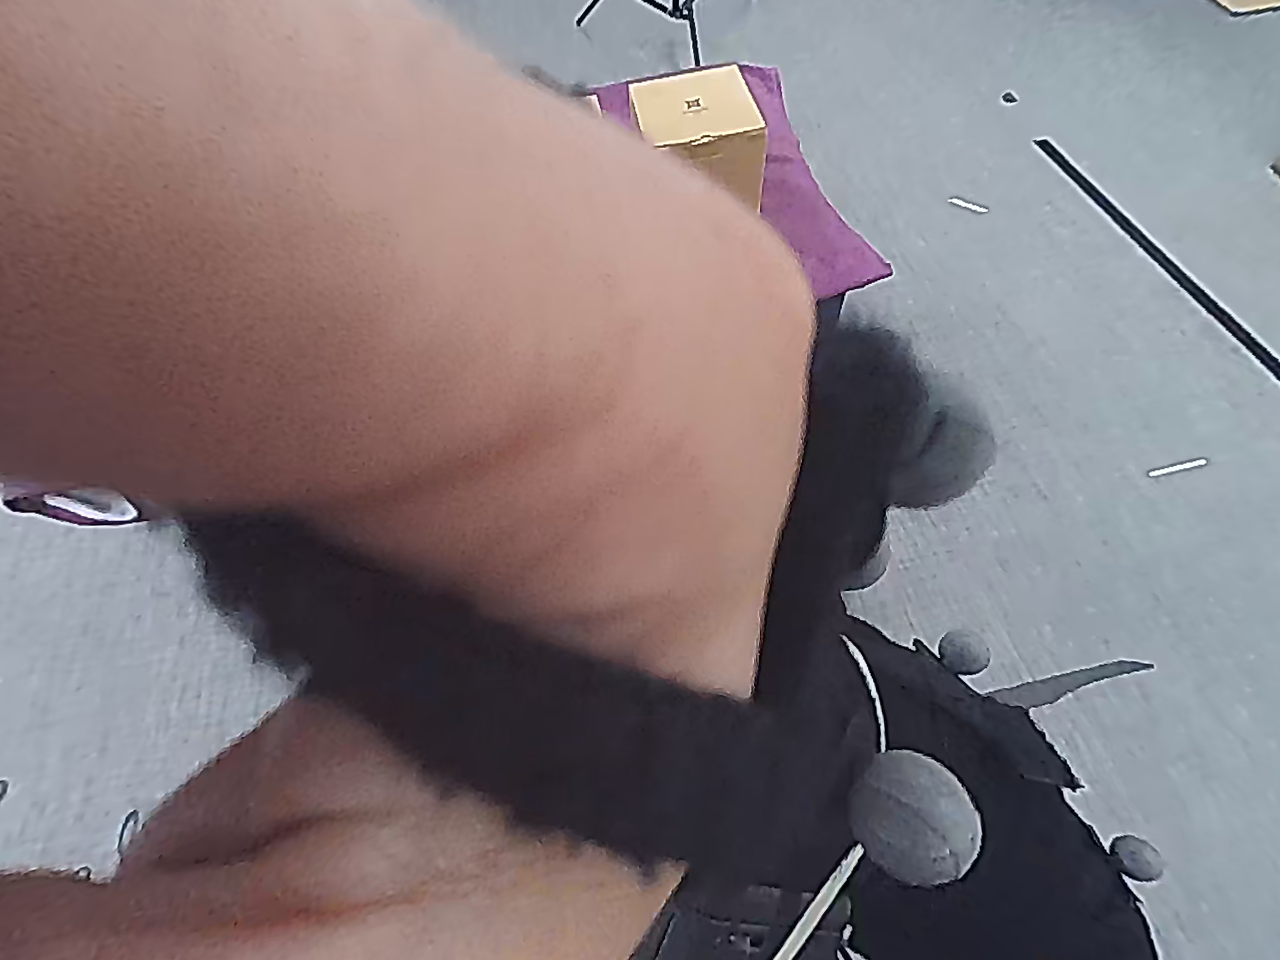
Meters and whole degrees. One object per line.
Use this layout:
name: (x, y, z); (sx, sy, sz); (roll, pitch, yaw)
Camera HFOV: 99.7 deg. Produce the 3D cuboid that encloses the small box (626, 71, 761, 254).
small box: (0.077, -0.482, 0.832); (0.168, 0.176, 0.179); (-11, 61, 0)
